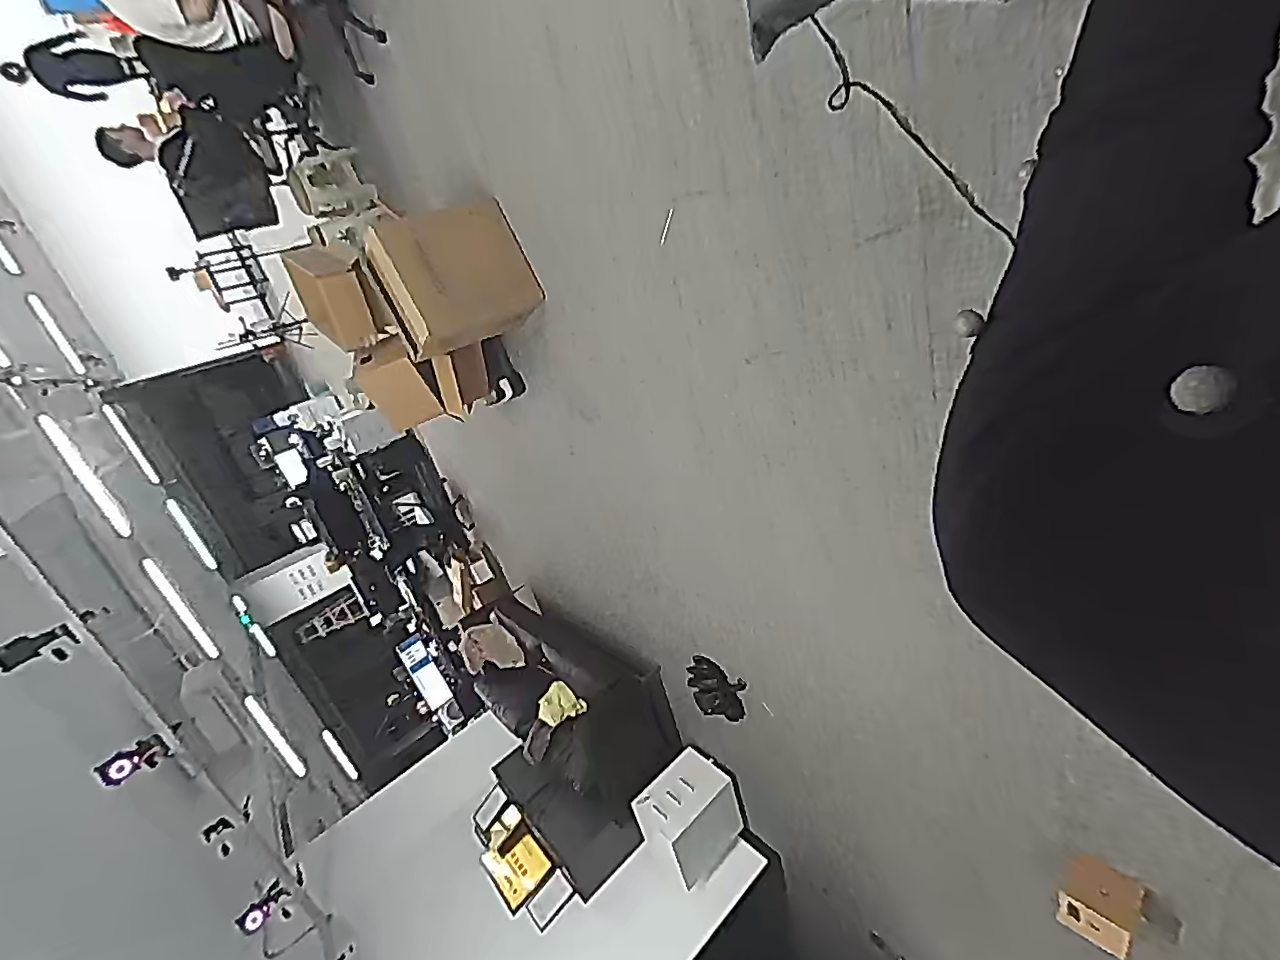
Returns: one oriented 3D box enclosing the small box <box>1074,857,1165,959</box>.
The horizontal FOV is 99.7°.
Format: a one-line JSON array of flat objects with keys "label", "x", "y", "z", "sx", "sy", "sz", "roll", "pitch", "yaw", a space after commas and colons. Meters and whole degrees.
[{"label": "small box", "x": 1.488, "y": 1.326, "z": 1.682, "sx": 0.179, "sy": 0.176, "sz": 0.168, "roll": 12, "pitch": 125, "yaw": 52}]
